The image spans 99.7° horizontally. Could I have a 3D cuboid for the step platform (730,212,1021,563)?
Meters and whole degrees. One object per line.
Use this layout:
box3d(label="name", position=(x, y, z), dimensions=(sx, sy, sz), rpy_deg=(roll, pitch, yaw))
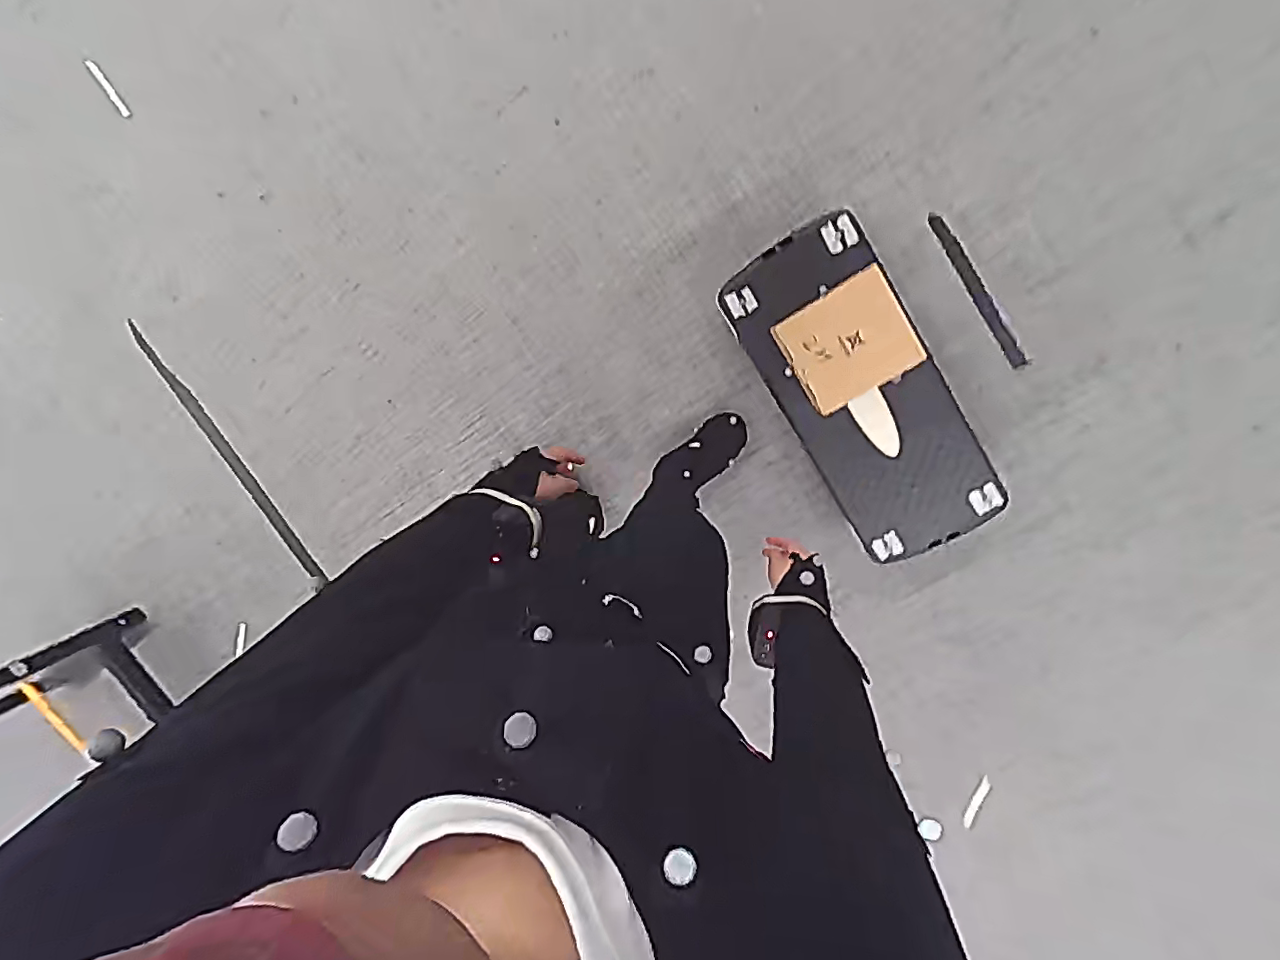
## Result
box3d(label="step platform", position=(0.464, -0.171, 1.100), dimensions=(0.286, 0.204, 0.684), rpy_deg=(-31, 96, 16))

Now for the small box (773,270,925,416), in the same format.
box3d(label="small box", position=(0.344, -0.232, 0.925), dimensions=(0.179, 0.176, 0.168), rpy_deg=(-30, 96, 17))
